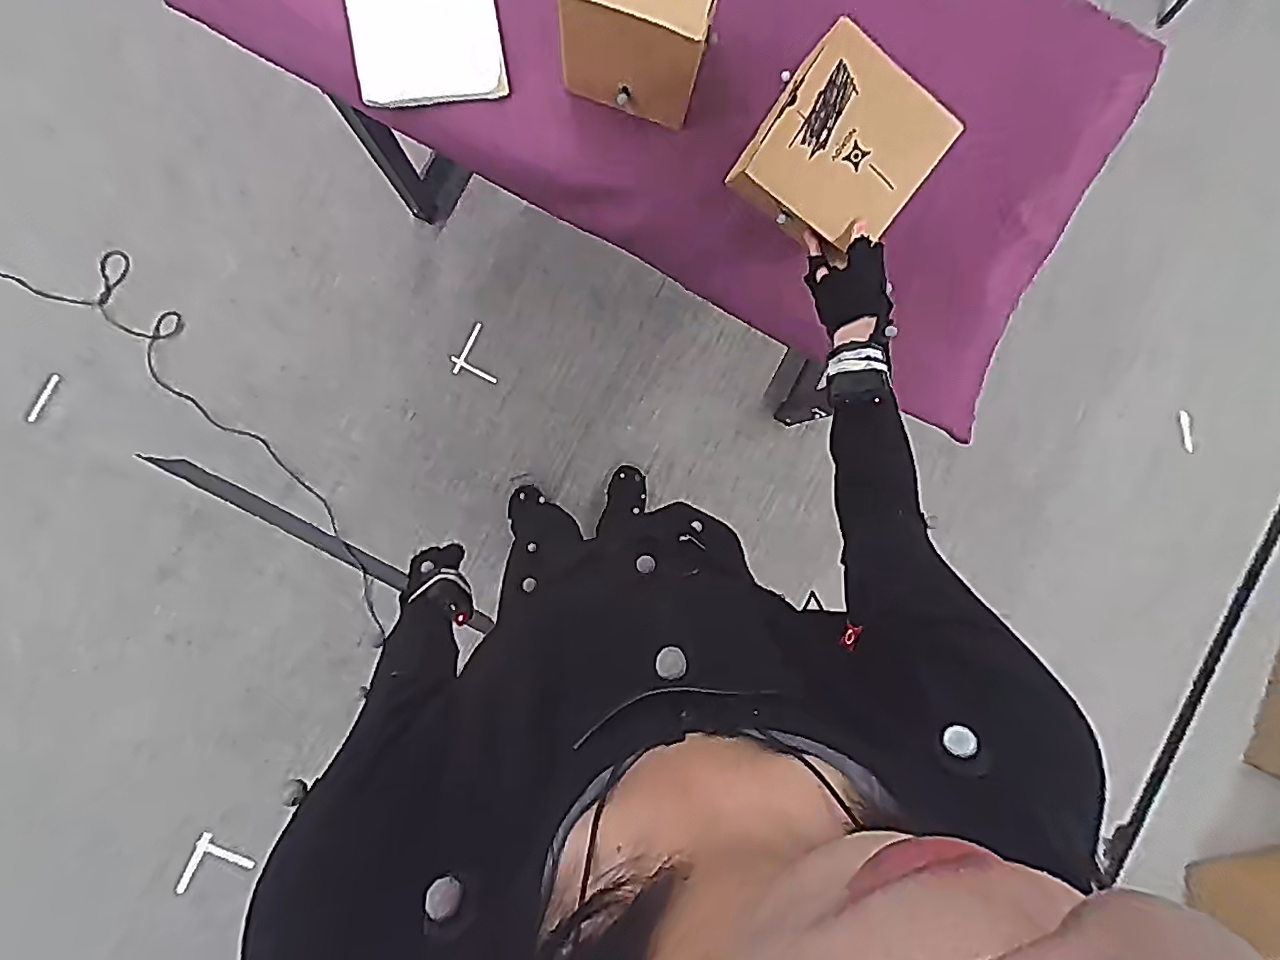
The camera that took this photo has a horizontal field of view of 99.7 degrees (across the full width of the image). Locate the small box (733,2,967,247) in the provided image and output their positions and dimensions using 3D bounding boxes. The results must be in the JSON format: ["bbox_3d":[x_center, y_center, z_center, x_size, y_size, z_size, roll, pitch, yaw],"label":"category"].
[{"bbox_3d":[0.233,-0.402,0.654,0.179,0.176,0.168,32,111,-12],"label":"small box"}]

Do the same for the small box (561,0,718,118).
[{"bbox_3d":[0.007,-0.613,0.695,0.179,0.176,0.168,16,89,-5],"label":"small box"}]
